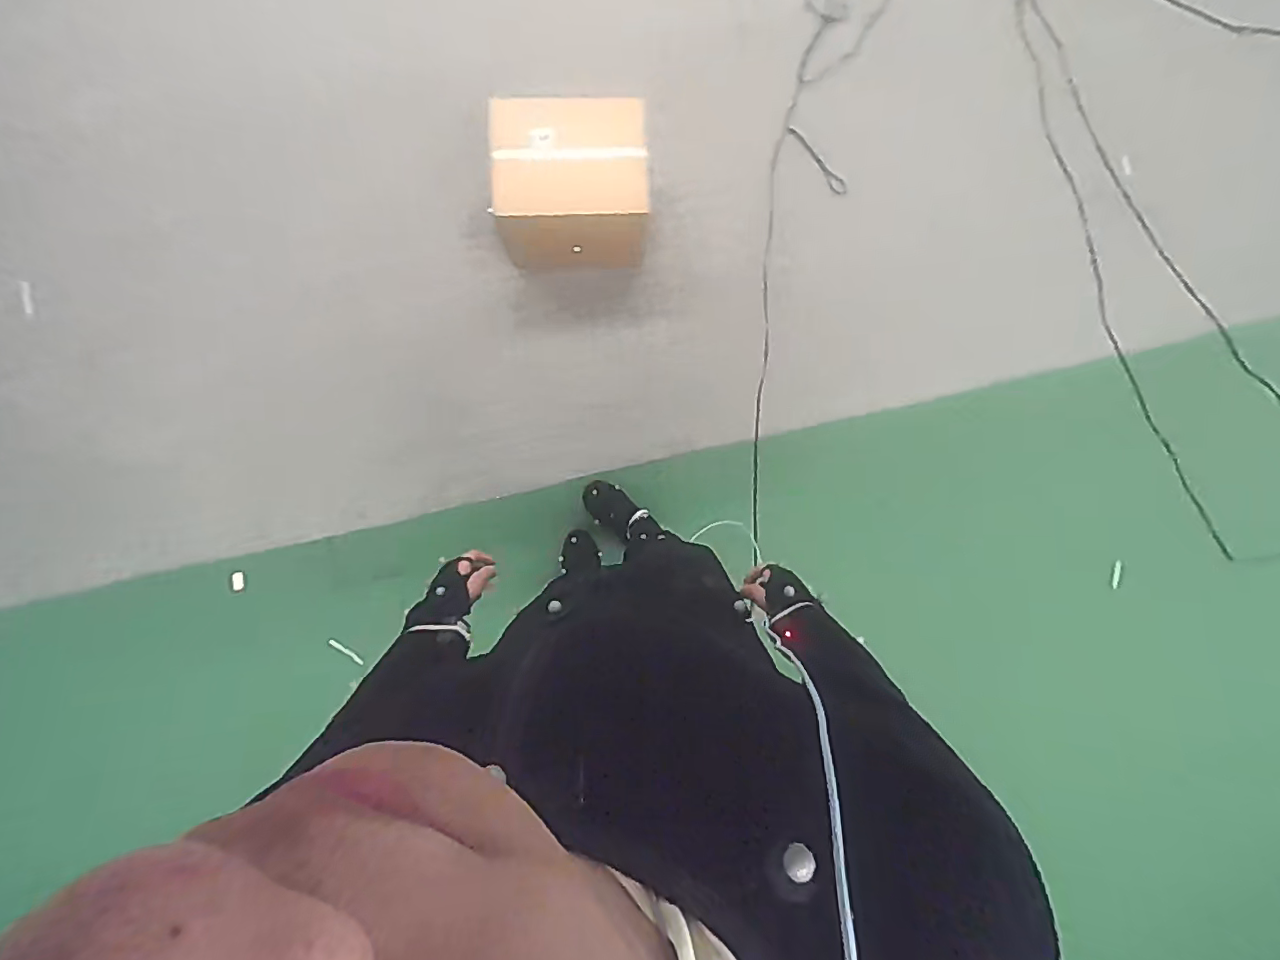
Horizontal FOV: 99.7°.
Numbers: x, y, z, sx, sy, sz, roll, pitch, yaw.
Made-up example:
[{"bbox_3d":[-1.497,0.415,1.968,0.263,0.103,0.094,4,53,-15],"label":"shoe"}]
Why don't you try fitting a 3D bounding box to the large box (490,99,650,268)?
[{"bbox_3d":[-0.186,-0.823,1.543,0.408,0.320,0.320,-3,87,-2],"label":"large box"}]
